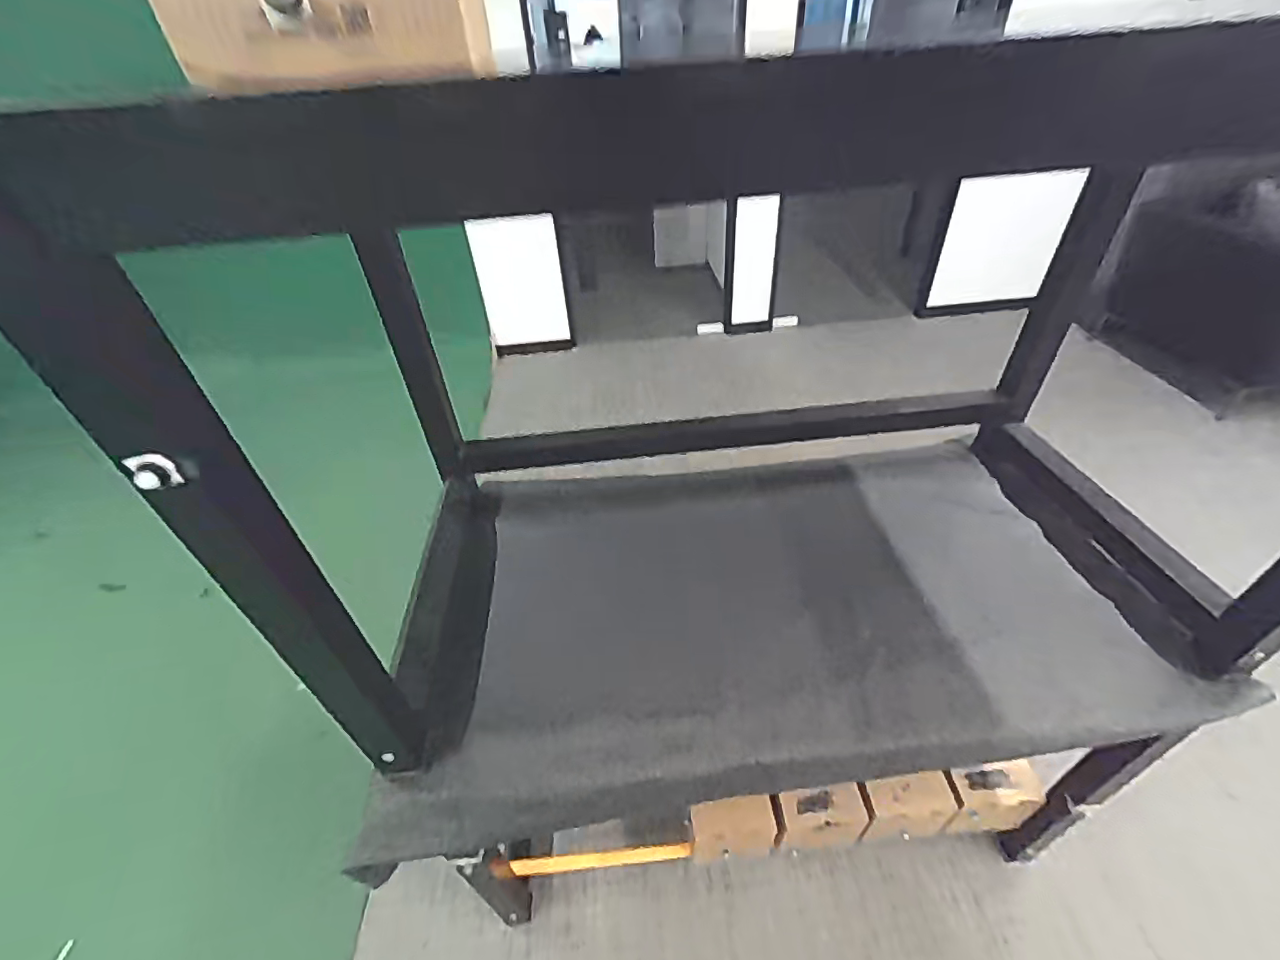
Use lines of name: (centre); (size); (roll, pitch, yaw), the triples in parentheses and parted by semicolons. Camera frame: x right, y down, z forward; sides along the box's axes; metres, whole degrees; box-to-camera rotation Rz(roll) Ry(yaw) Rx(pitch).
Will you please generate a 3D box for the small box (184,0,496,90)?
small box: (-0.194, -0.358, 0.343); (0.168, 0.176, 0.179); (-9, 40, -4)
